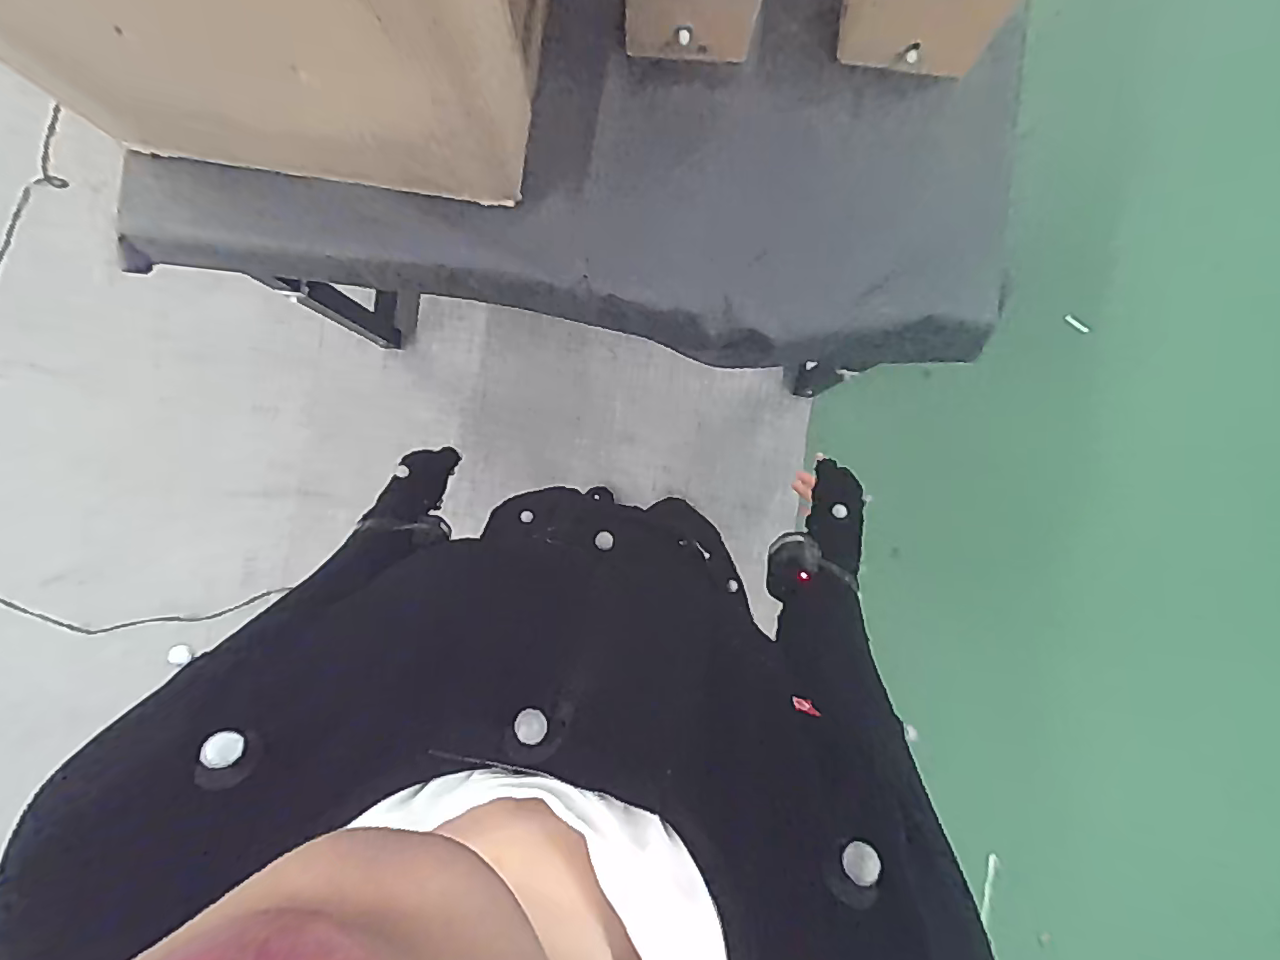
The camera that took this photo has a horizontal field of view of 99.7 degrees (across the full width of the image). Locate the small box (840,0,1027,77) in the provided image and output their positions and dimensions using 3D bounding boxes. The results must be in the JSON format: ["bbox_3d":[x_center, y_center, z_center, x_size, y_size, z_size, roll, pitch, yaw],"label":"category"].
[{"bbox_3d":[0.376,-0.649,0.674,0.179,0.176,0.168,7,90,-1],"label":"small box"}]
